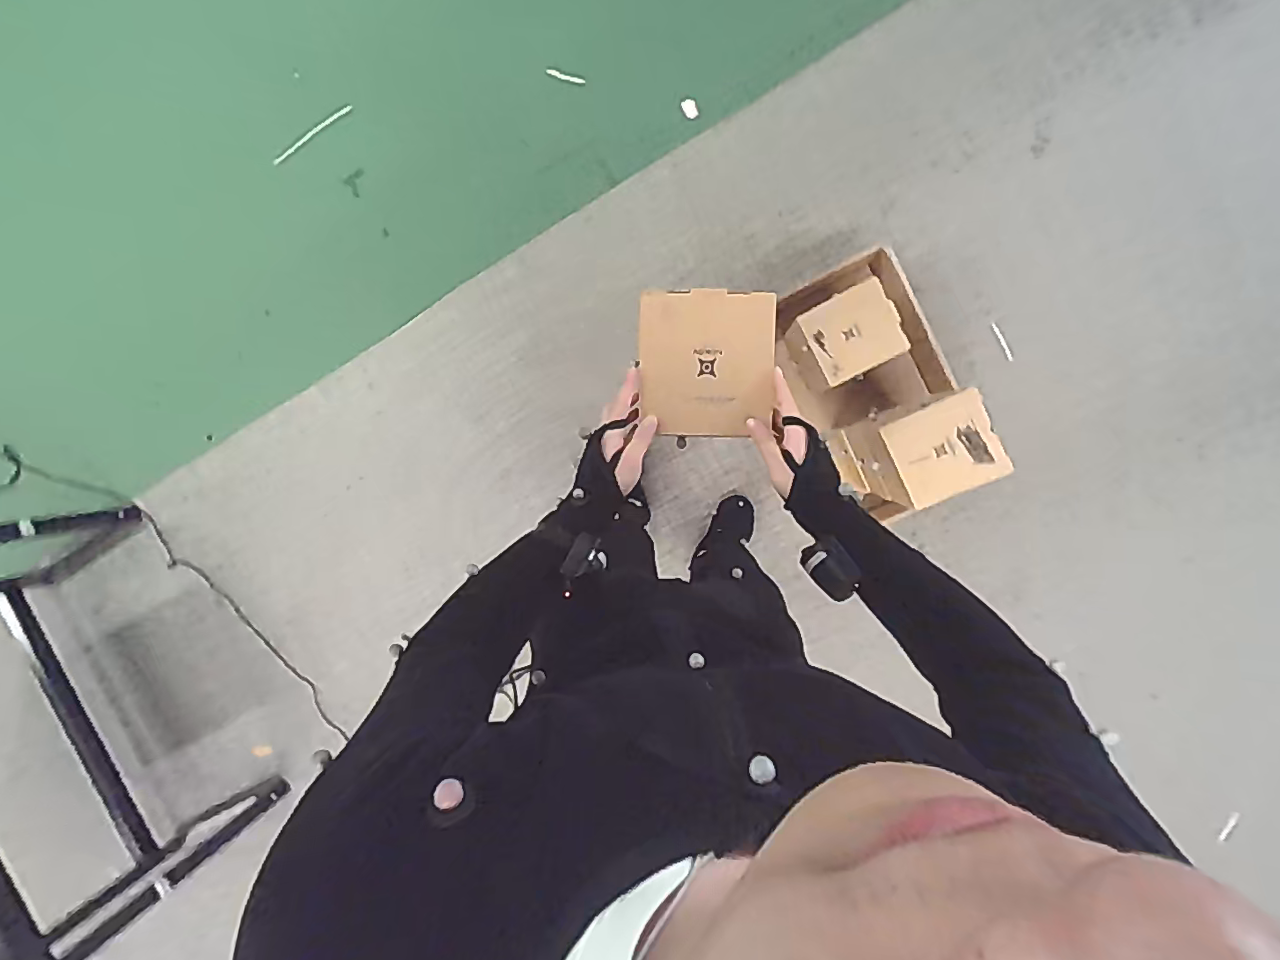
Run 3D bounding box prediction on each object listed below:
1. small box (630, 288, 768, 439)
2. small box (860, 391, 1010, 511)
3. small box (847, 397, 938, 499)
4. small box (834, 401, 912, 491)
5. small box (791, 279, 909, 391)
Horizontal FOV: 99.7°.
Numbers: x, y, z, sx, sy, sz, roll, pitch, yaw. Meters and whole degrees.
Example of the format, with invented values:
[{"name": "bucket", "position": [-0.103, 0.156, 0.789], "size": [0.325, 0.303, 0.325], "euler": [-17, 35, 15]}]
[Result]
[{"name": "small box", "position": [0.070, -0.147, 0.733], "size": [0.168, 0.176, 0.179], "euler": [1, 94, 0]}, {"name": "small box", "position": [0.549, -0.056, 1.032], "size": [0.179, 0.176, 0.168], "euler": [-24, 90, 12]}, {"name": "small box", "position": [0.576, -0.069, 1.194], "size": [0.179, 0.176, 0.168], "euler": [-24, 90, 11]}, {"name": "small box", "position": [0.602, -0.083, 1.356], "size": [0.179, 0.176, 0.168], "euler": [-24, 90, 11]}, {"name": "small box", "position": [0.451, -0.309, 1.189], "size": [0.179, 0.176, 0.168], "euler": [-25, 91, 11]}]
